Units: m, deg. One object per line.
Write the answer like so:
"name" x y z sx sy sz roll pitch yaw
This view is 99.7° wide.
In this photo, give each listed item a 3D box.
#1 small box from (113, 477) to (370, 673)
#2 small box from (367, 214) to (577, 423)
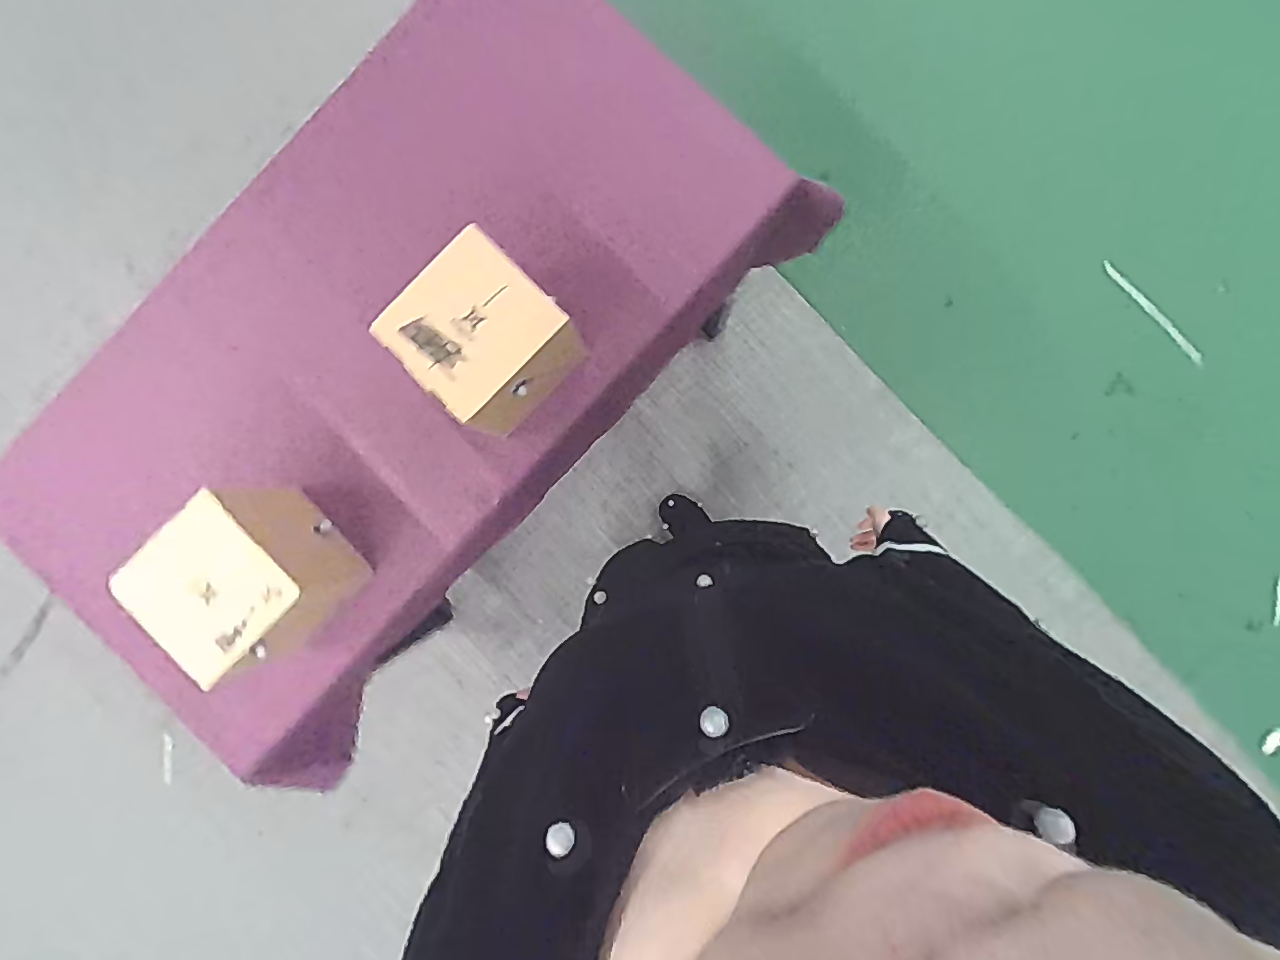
"small box" -0.510 0.116 0.719 0.168 0.176 0.179 -45 88 2
"small box" -0.203 -0.193 0.709 0.168 0.176 0.179 45 91 2
